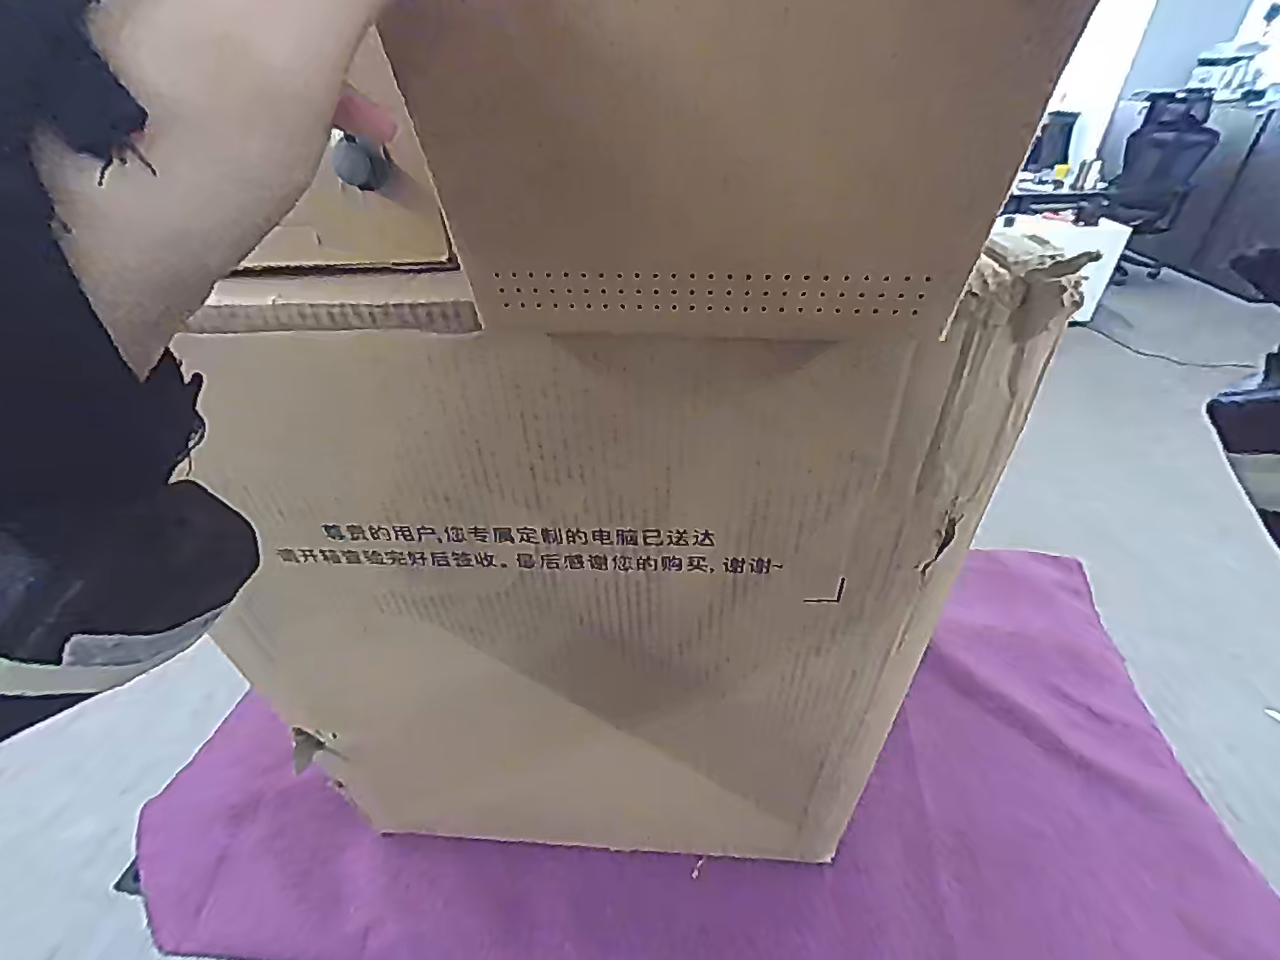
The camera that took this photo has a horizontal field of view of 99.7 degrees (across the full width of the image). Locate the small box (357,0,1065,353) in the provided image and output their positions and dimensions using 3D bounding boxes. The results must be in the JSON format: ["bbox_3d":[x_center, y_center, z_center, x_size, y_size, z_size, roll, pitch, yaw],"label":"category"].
[{"bbox_3d":[0.024,-0.163,0.194,0.179,0.176,0.168,4,52,5],"label":"small box"}]
